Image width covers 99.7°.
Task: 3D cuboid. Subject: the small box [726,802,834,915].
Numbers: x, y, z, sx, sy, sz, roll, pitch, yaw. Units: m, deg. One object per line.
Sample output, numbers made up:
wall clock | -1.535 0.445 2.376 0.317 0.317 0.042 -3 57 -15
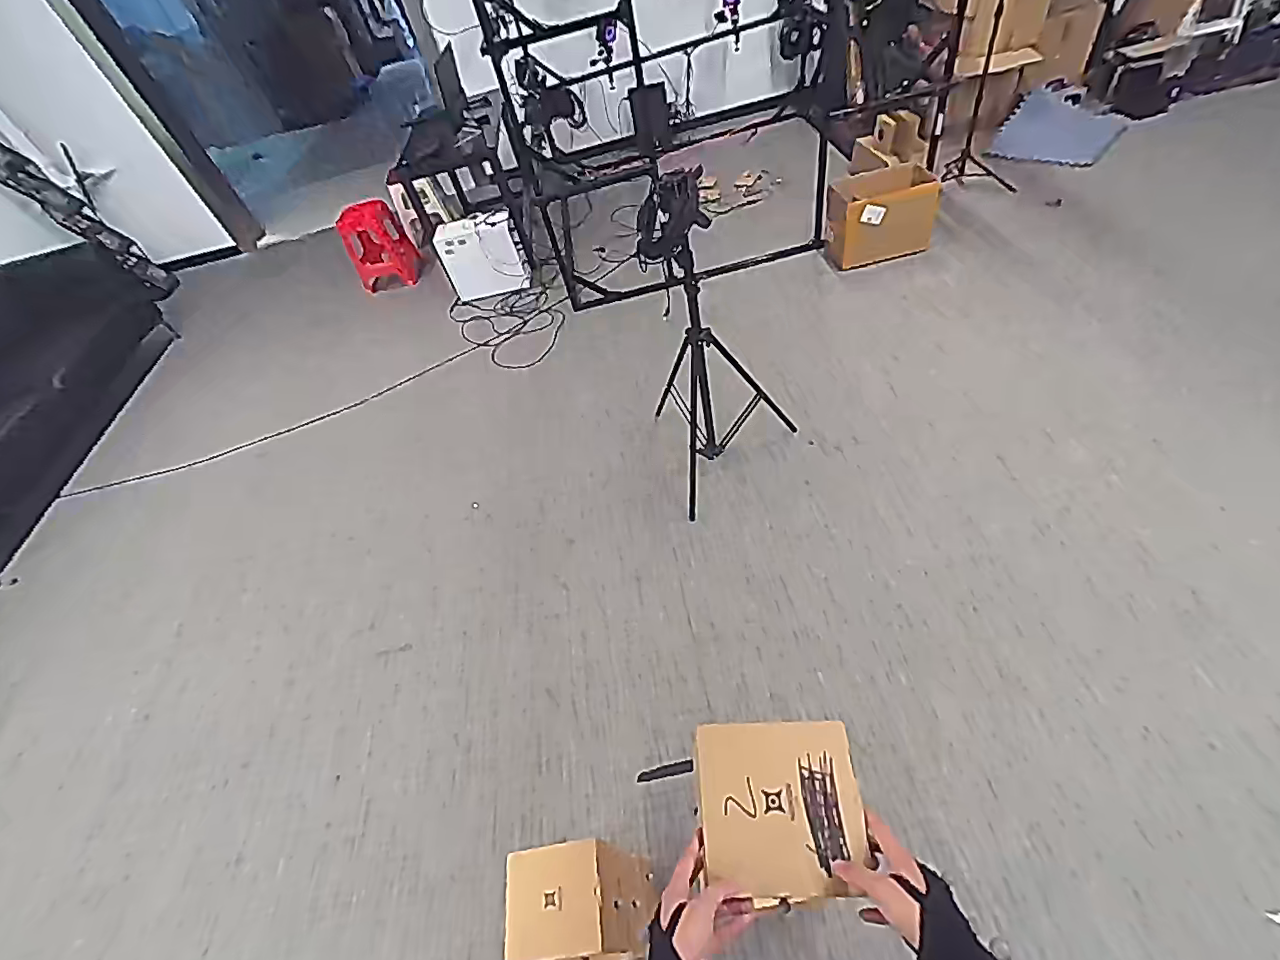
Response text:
small box | 0.282 0.785 1.120 0.179 0.176 0.168 -11 48 4

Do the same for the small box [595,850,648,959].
small box | -0.091 0.901 1.121 0.168 0.176 0.179 -17 49 1

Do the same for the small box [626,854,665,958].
small box | -0.051 0.999 1.246 0.168 0.176 0.179 -18 48 0

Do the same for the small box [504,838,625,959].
small box | -0.137 0.792 1.009 0.179 0.176 0.168 -13 48 4
